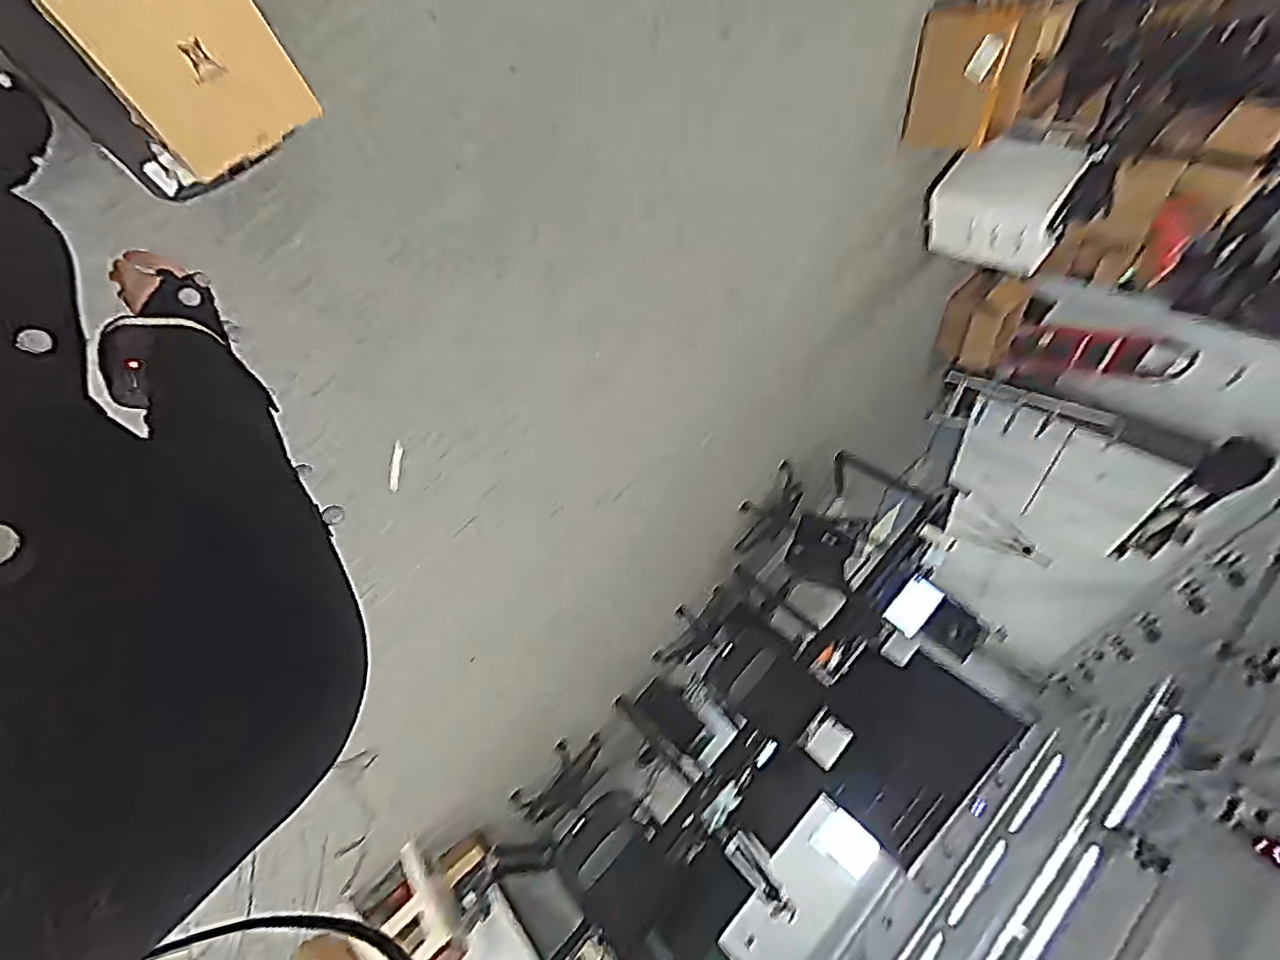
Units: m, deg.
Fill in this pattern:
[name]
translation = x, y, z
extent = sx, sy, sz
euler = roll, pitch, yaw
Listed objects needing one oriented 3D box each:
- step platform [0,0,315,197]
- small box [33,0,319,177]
[step platform]
translation = -0.773, -0.740, 0.683
extent = 0.286, 0.204, 0.684
euler = -46, 144, -13
[small box]
translation = -0.519, -0.481, 0.612
extent = 0.168, 0.176, 0.179
euler = -44, 145, -15
